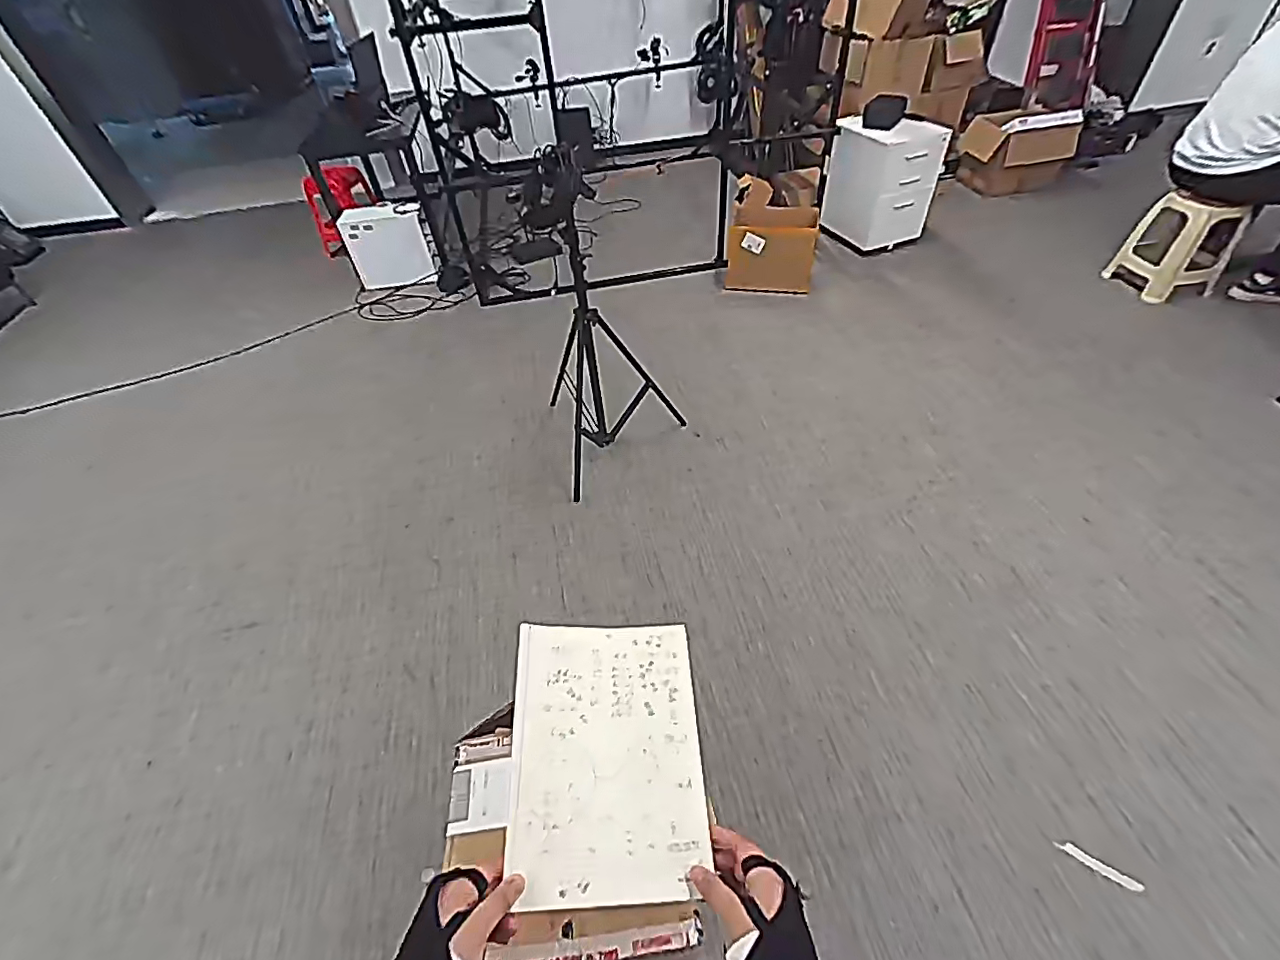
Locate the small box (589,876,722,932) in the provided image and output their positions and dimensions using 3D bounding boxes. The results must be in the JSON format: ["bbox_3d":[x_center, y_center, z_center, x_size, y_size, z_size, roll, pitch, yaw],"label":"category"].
[{"bbox_3d":[0.008,0.540,0.798,0.179,0.176,0.168,-11,47,-7],"label":"small box"}]

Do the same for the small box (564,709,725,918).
[{"bbox_3d":[-0.001,0.422,0.685,0.168,0.176,0.179,-9,47,-6],"label":"small box"}]
